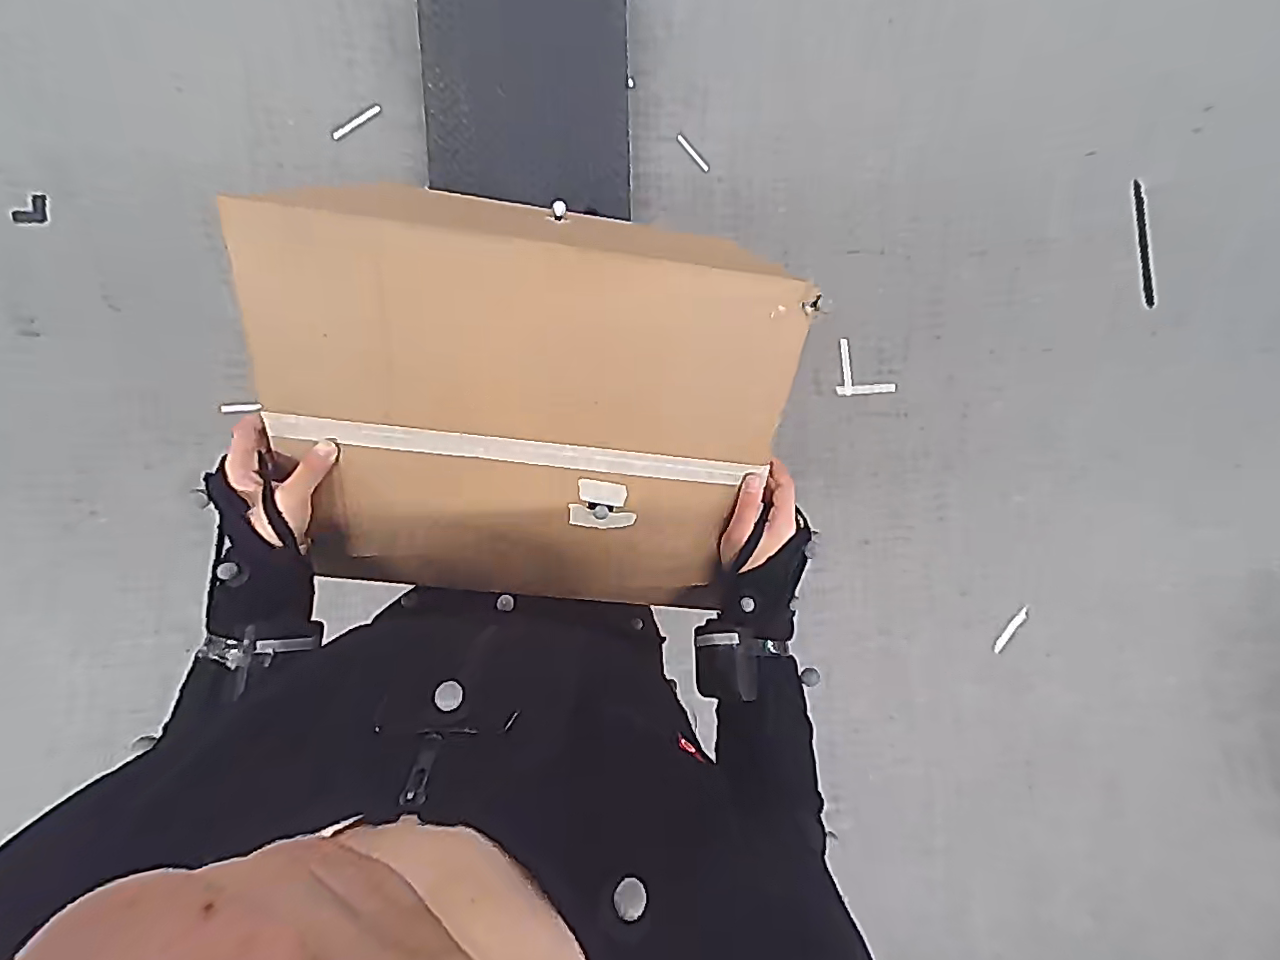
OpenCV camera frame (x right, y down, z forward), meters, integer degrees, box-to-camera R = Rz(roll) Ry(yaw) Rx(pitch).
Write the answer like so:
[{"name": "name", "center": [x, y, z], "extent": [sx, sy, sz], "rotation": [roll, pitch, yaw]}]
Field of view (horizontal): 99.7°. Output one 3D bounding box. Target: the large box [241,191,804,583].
[{"name": "large box", "center": [-0.100, -0.115, 0.582], "extent": [0.408, 0.320, 0.320], "rotation": [5, 121, -6]}]
